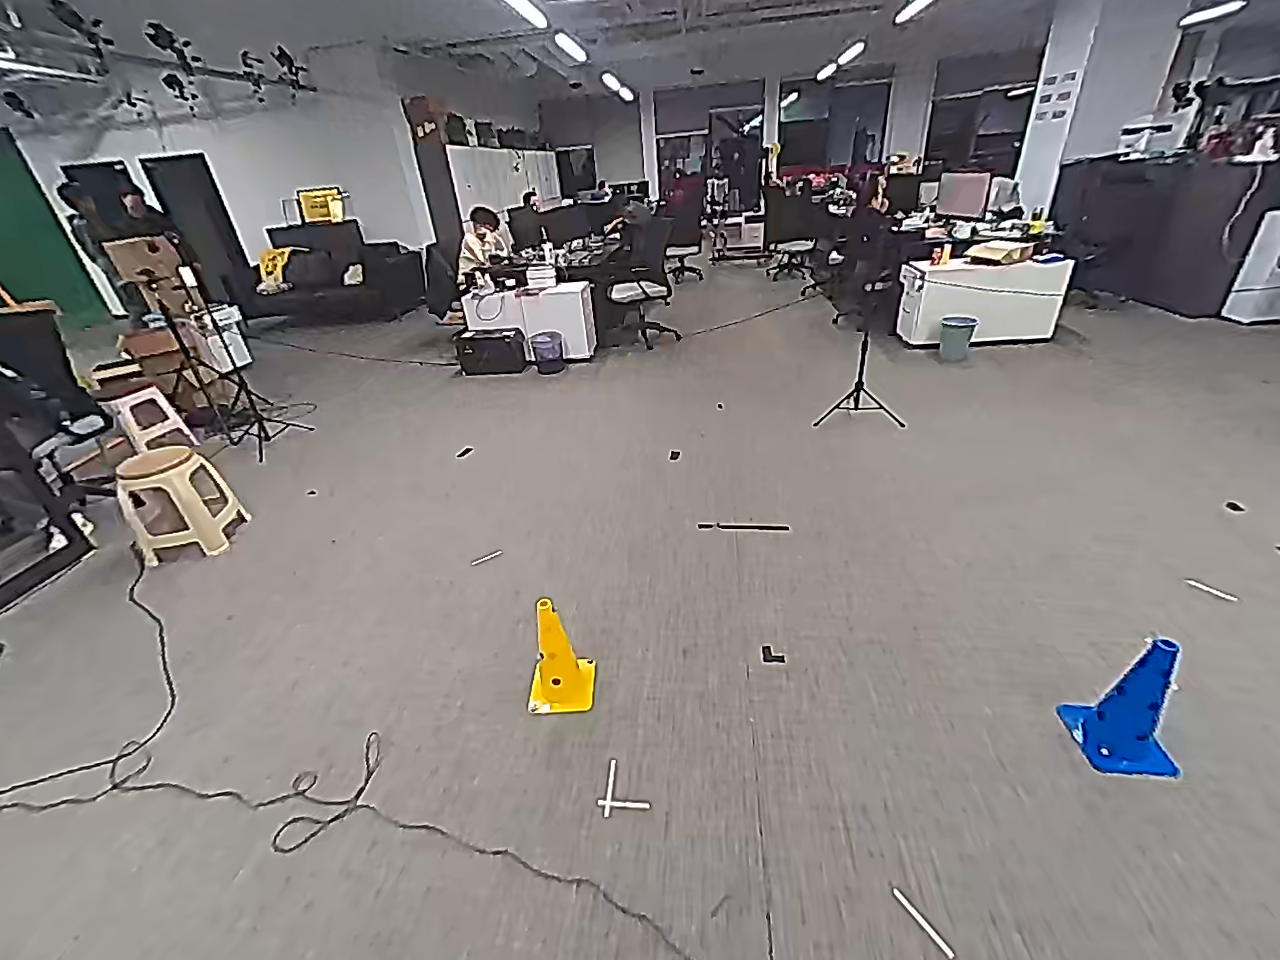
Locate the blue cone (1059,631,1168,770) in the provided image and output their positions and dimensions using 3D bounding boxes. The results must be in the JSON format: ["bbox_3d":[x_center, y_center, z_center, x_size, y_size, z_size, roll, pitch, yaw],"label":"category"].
[{"bbox_3d":[1.251,0.541,1.368,0.193,0.380,0.192,0,29,9],"label":"blue cone"}]
